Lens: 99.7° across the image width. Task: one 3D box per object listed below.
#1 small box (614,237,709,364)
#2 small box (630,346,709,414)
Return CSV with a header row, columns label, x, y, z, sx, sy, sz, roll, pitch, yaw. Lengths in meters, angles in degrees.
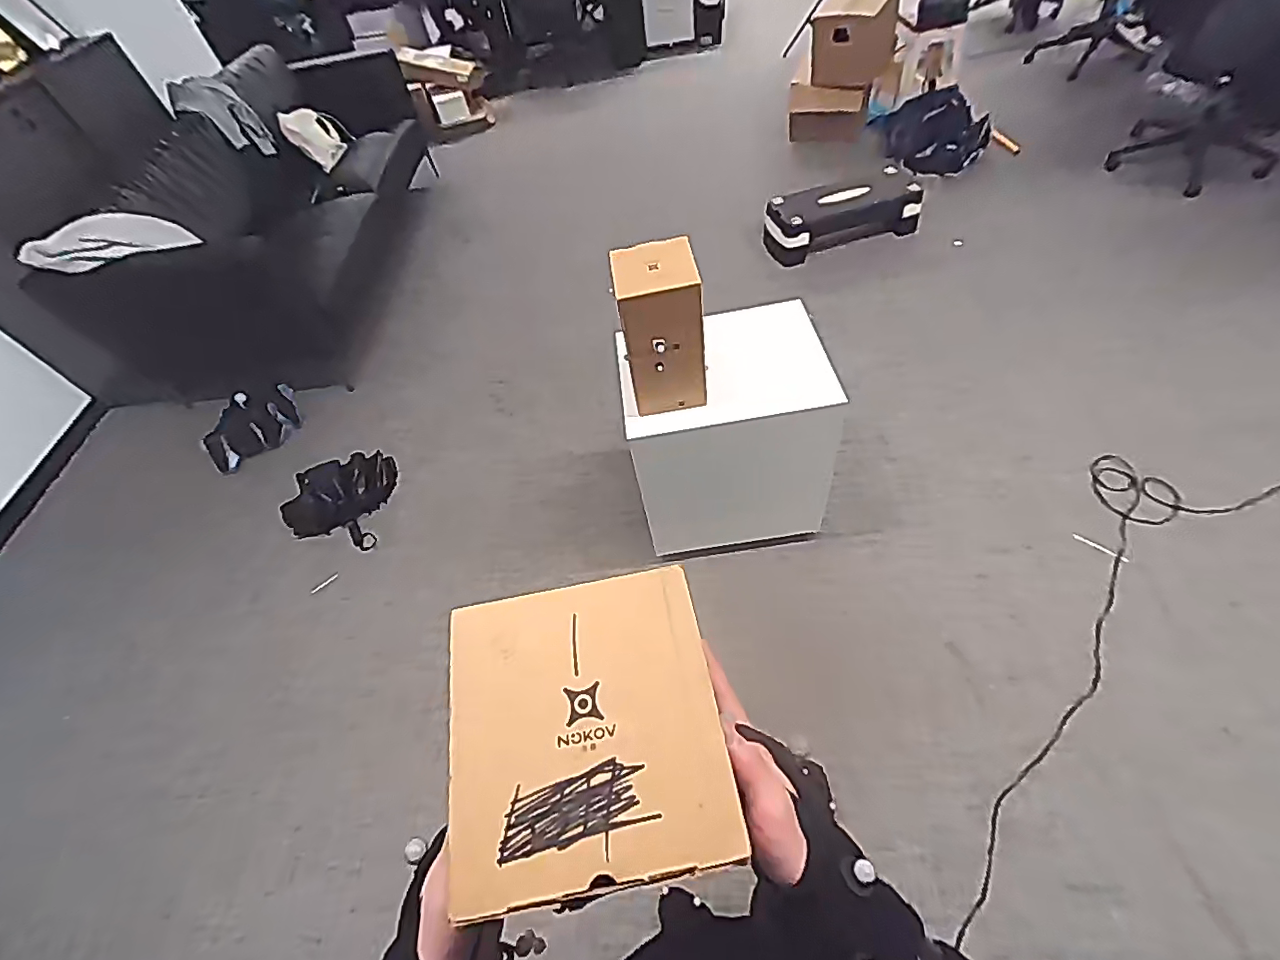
label,x,y,z,sx,sy,sz,roll,pitch,yaw
small box,0.045,-0.372,1.129,0.168,0.176,0.179,-11,53,4
small box,0.066,-0.280,1.261,0.168,0.176,0.179,-9,51,4
